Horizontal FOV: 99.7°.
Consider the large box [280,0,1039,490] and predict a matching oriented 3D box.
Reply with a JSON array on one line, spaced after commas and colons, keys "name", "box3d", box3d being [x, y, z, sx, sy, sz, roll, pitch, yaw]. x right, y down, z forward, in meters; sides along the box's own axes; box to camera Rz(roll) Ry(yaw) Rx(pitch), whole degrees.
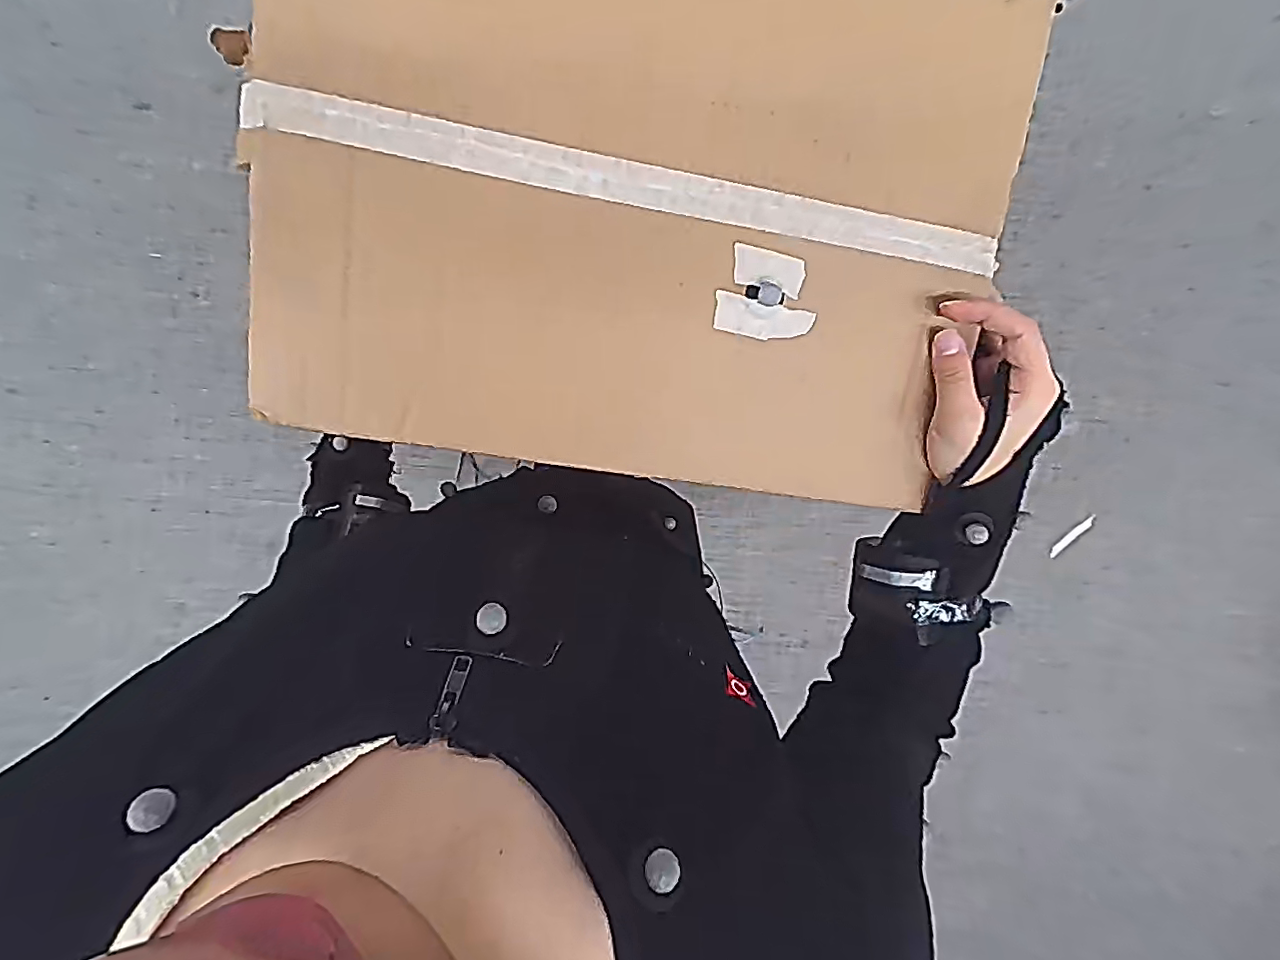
[{"name": "large box", "box3d": [-0.005, -0.190, 0.447, 0.408, 0.320, 0.320, 7, 101, -10]}]
